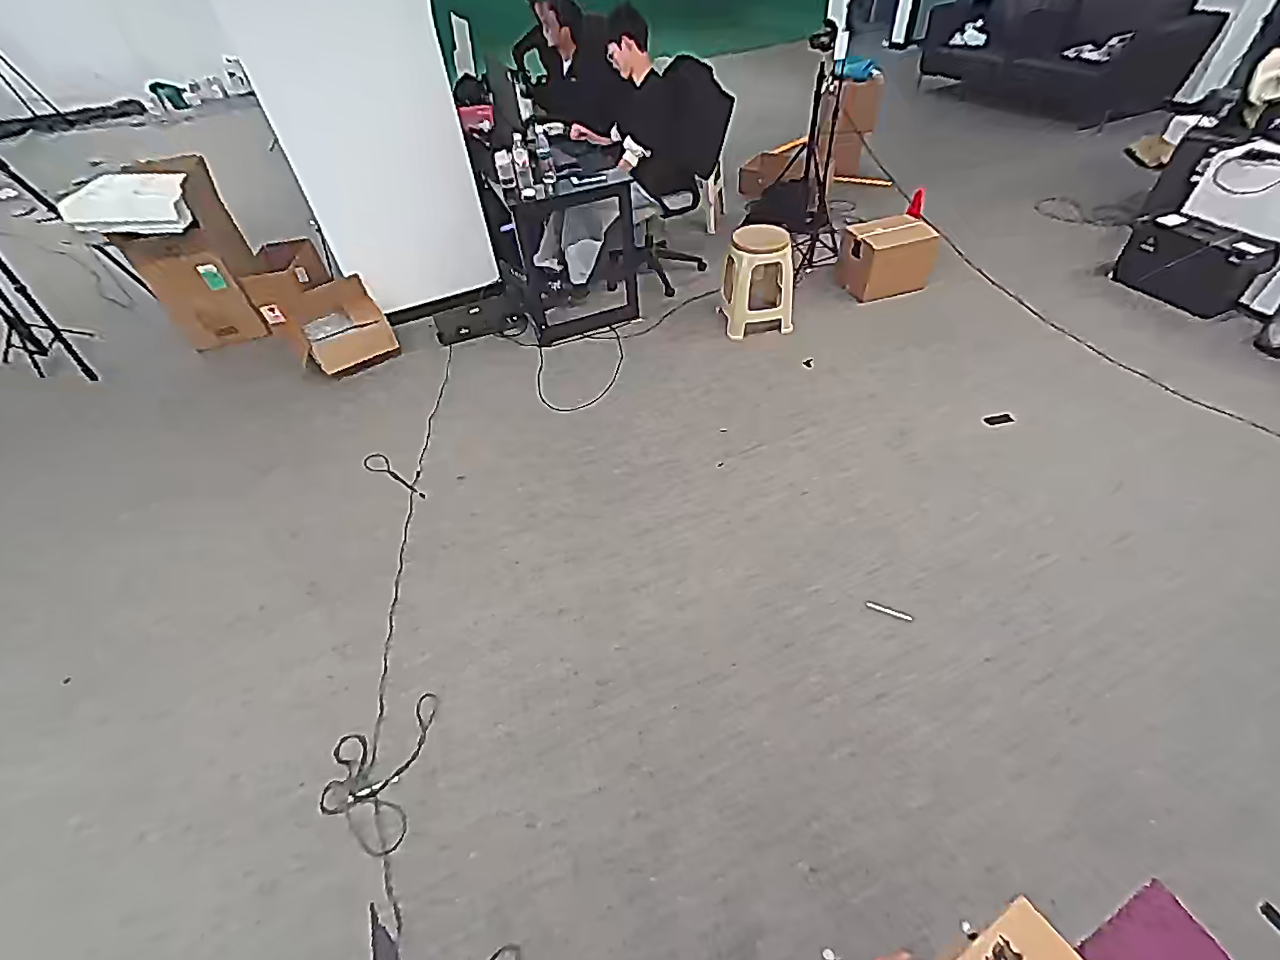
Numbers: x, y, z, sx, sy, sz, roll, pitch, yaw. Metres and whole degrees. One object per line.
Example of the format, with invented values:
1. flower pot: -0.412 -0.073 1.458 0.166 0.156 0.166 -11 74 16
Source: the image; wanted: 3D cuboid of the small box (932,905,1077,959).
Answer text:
1. small box: 0.371 0.568 0.526 0.168 0.176 0.179 -24 46 -18
